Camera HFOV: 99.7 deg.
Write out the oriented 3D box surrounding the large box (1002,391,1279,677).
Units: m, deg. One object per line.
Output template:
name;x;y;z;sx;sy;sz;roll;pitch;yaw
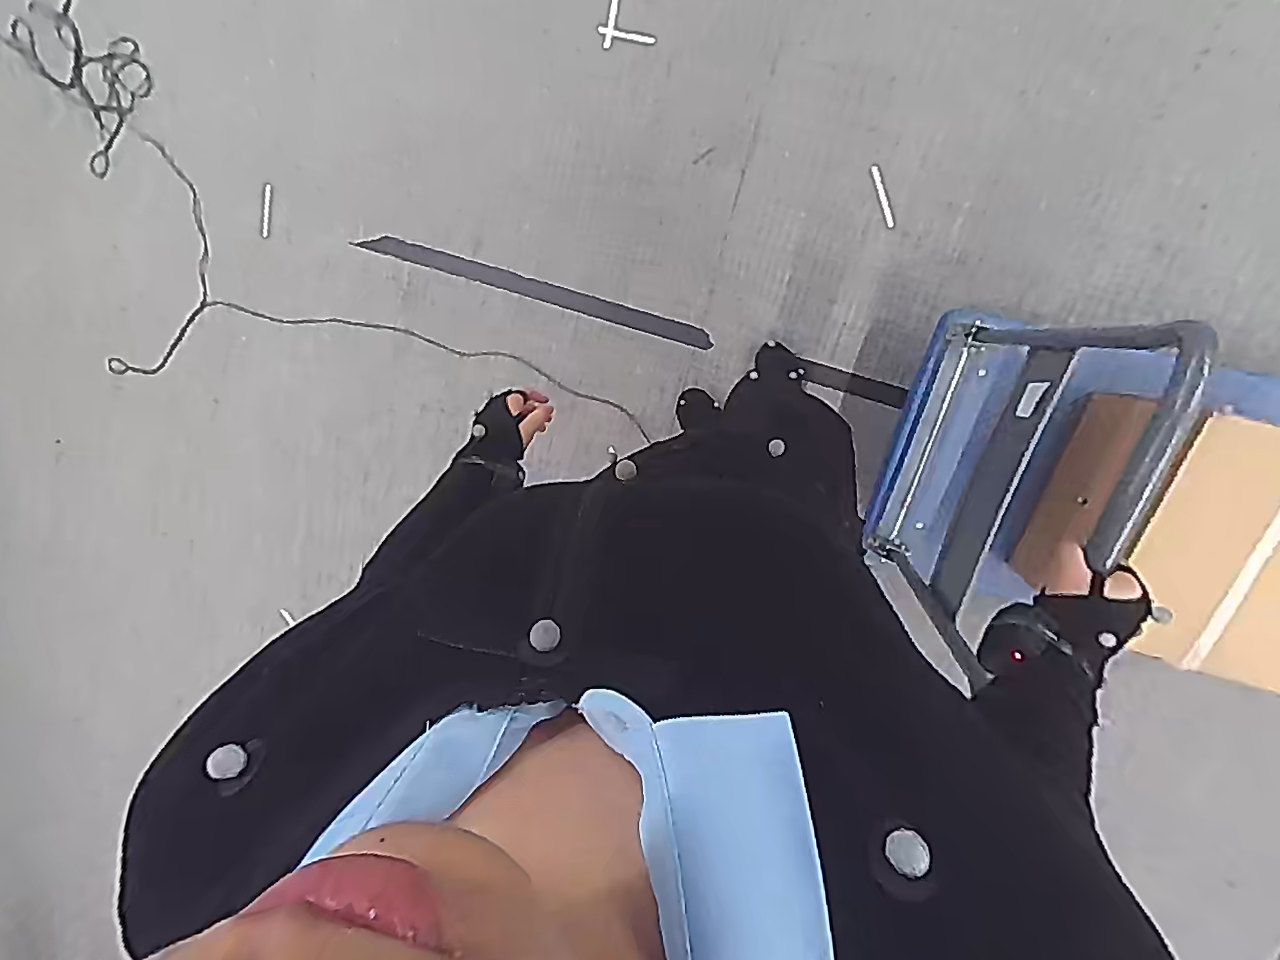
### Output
large box;0.972;0.074;1.012;0.320;0.320;0.408;16;105;7
